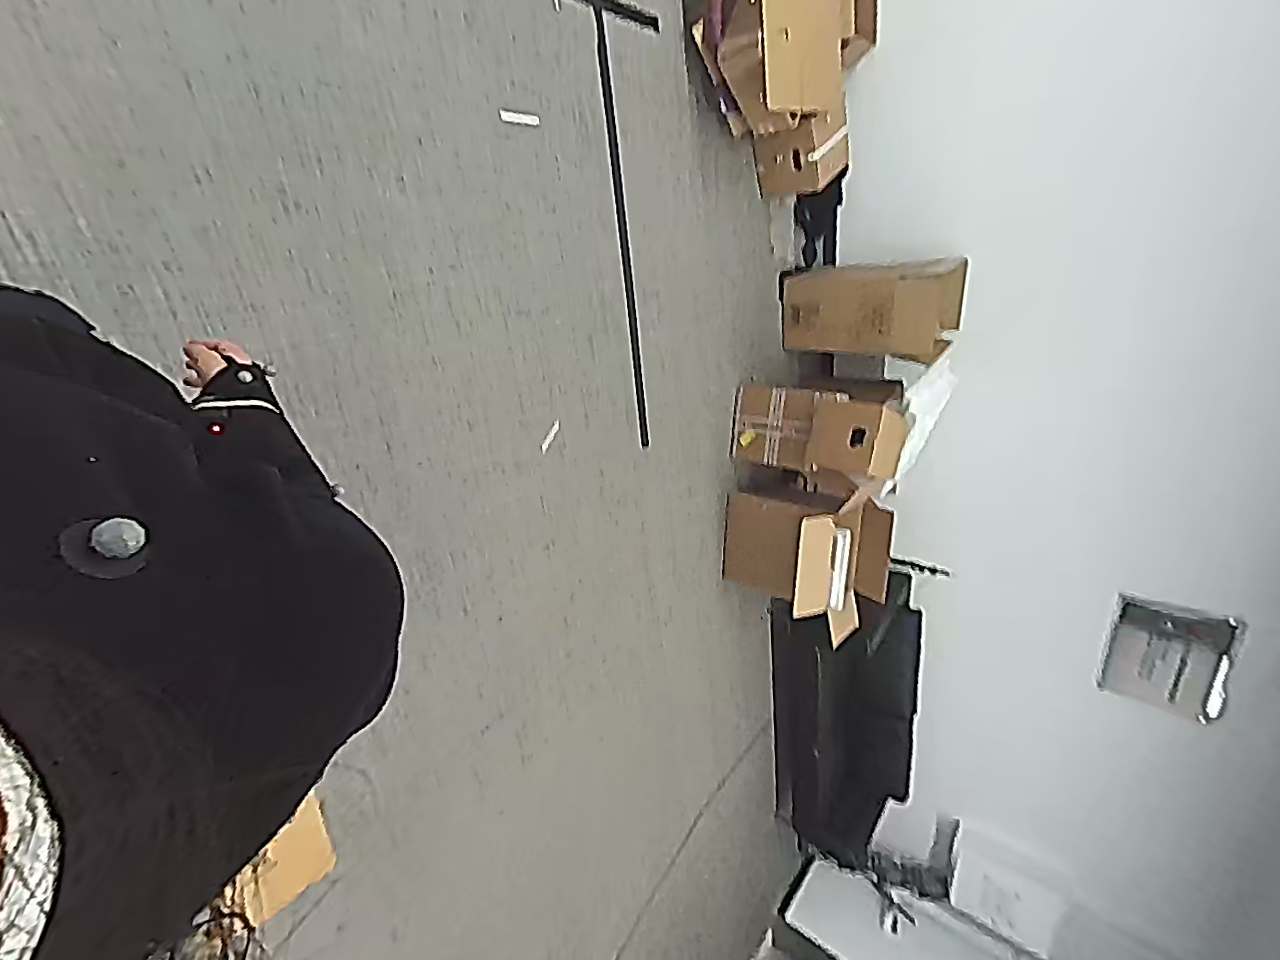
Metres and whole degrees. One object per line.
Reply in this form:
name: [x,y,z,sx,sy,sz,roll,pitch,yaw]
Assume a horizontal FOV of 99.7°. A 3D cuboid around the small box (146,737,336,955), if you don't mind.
small box: [-0.581,0.511,0.790,0.168,0.176,0.179,-22,116,-45]
